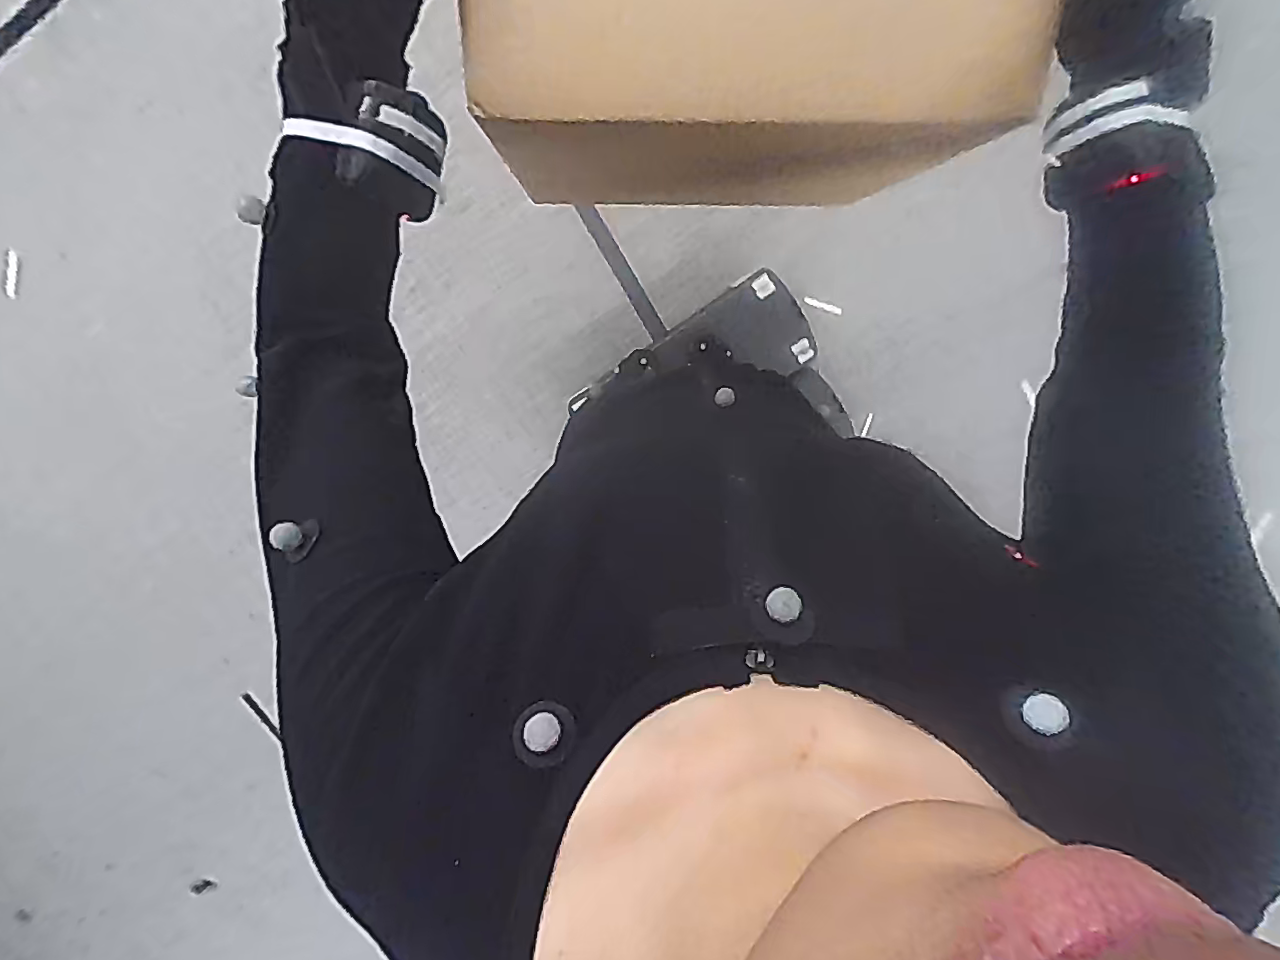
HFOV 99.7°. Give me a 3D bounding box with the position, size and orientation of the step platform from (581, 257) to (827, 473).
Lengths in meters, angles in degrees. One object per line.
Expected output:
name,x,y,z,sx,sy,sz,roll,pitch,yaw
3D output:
step platform,0.168,-0.313,1.521,0.684,0.204,0.286,-35,101,7

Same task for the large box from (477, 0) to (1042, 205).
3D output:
large box,0.074,-0.452,0.490,0.408,0.320,0.320,-2,108,-3
